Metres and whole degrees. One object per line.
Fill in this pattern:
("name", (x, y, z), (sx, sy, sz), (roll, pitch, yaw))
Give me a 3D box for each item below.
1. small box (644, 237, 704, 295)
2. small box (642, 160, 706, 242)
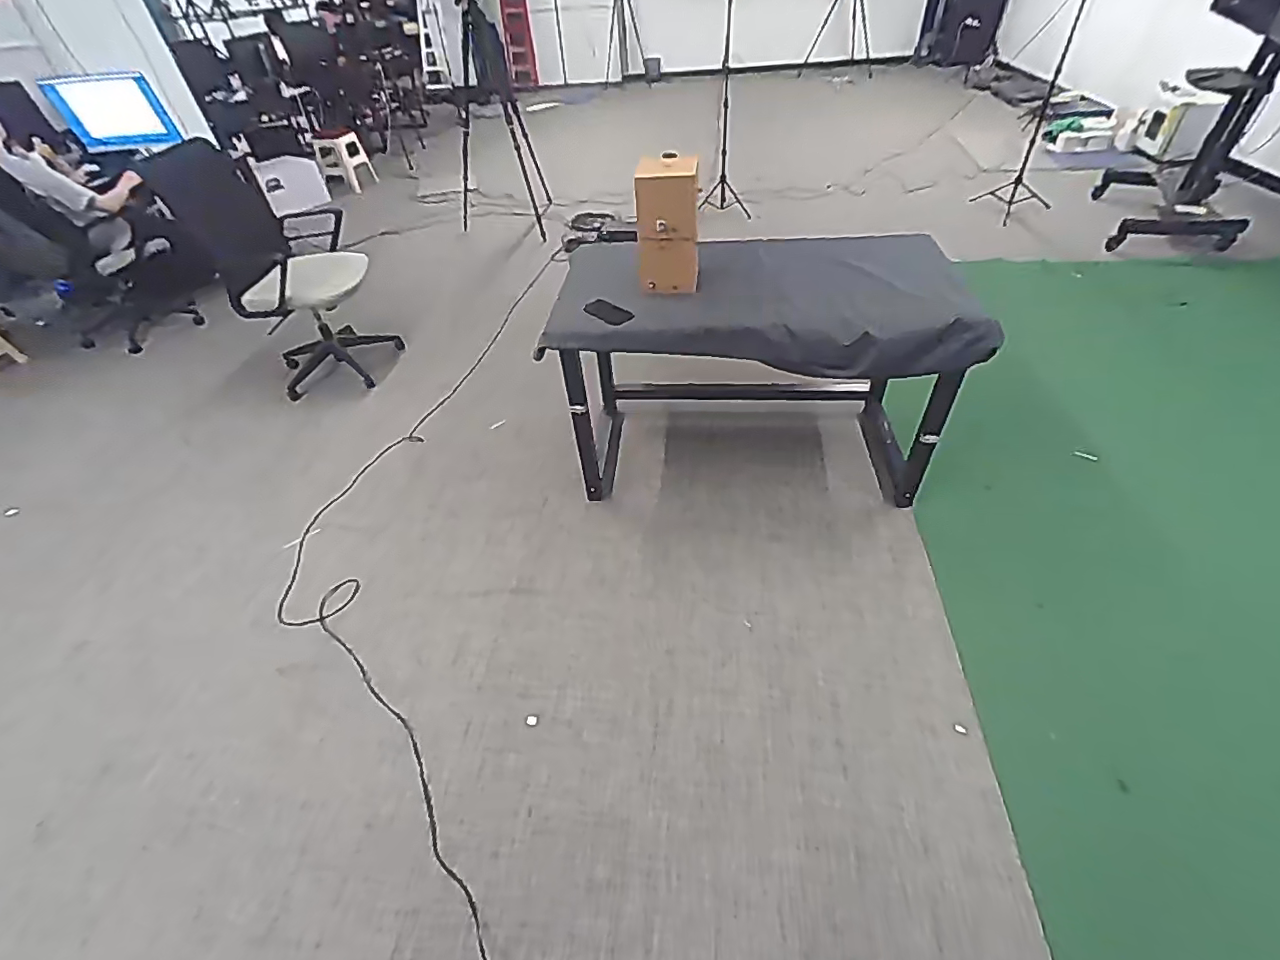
("small box", (0.109, -0.680, 1.654), (0.168, 0.176, 0.179), (3, 44, 8))
("small box", (0.100, -0.793, 1.538), (0.168, 0.176, 0.179), (2, 45, 8))
